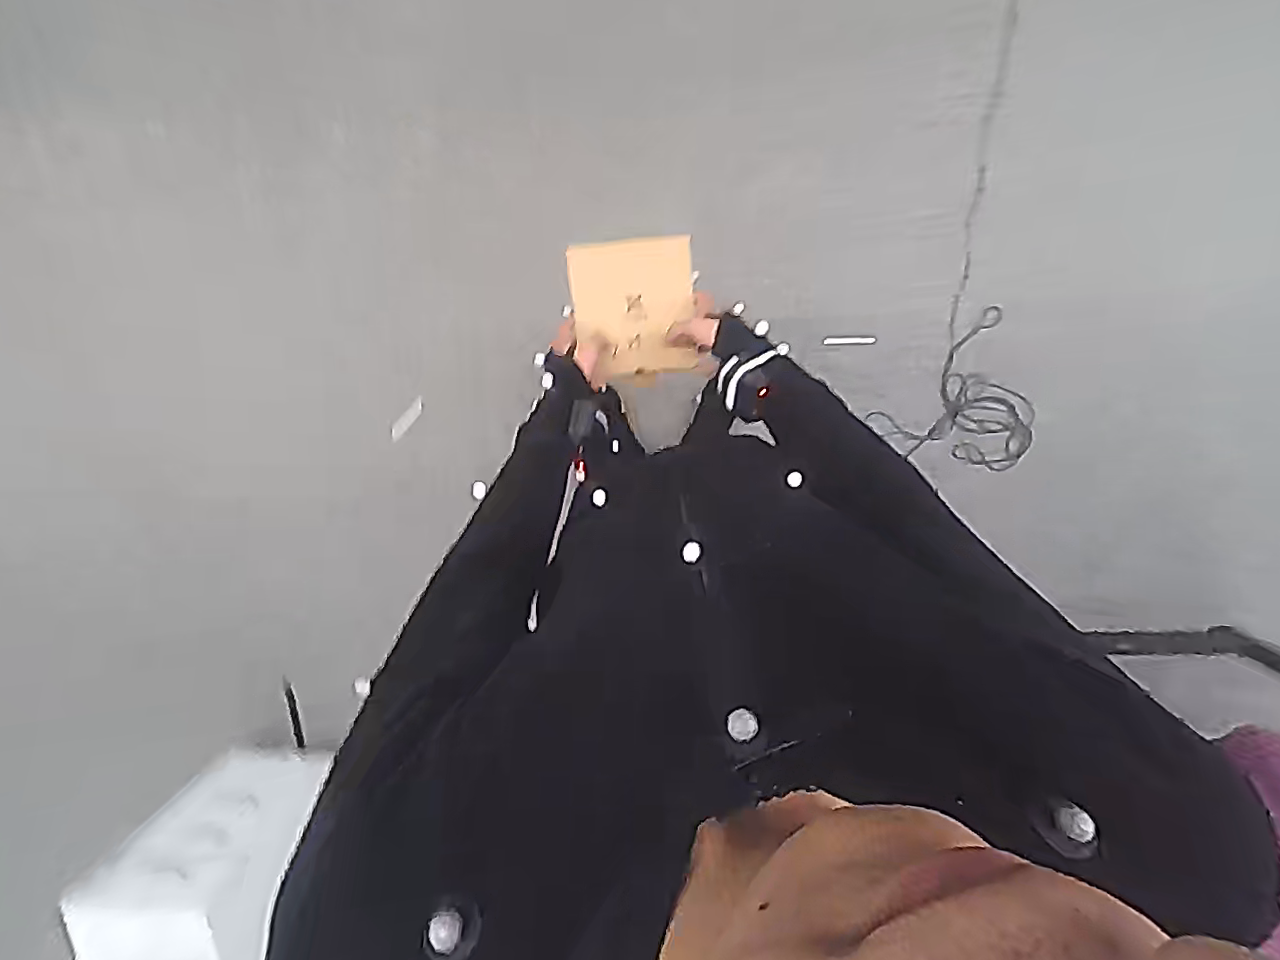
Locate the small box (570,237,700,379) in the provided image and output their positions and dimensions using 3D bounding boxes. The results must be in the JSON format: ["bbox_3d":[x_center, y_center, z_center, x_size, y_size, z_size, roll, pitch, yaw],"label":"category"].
[{"bbox_3d":[-0.011,-0.245,0.808,0.168,0.176,0.179,-7,102,-3],"label":"small box"}]
